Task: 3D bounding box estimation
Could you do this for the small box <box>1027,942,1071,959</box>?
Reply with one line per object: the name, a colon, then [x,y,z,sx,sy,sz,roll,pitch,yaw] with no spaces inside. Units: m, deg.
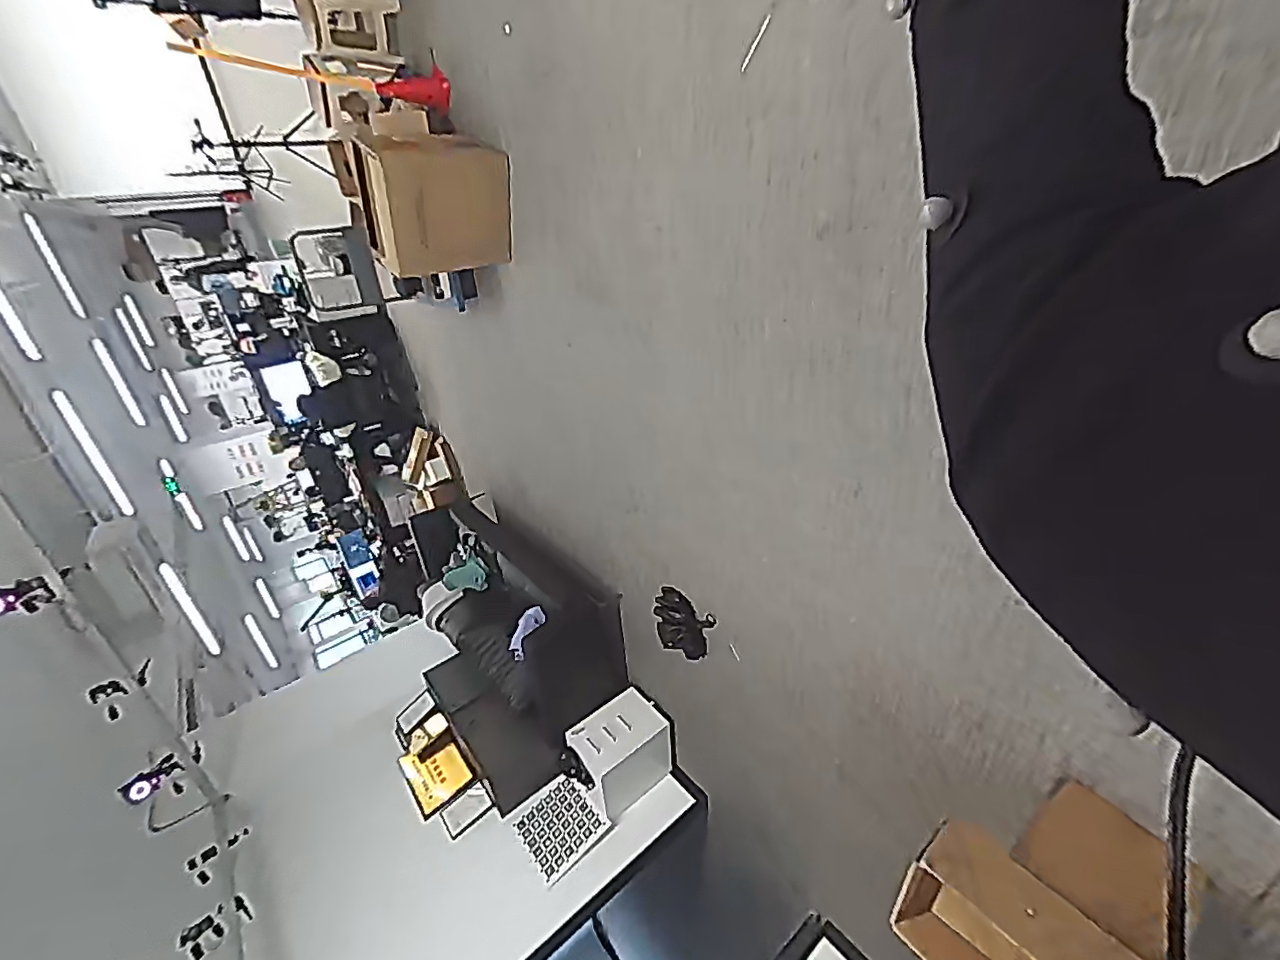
small box: [0.990,1.256,1.279,0.168,0.176,0.179,35,140,44]
